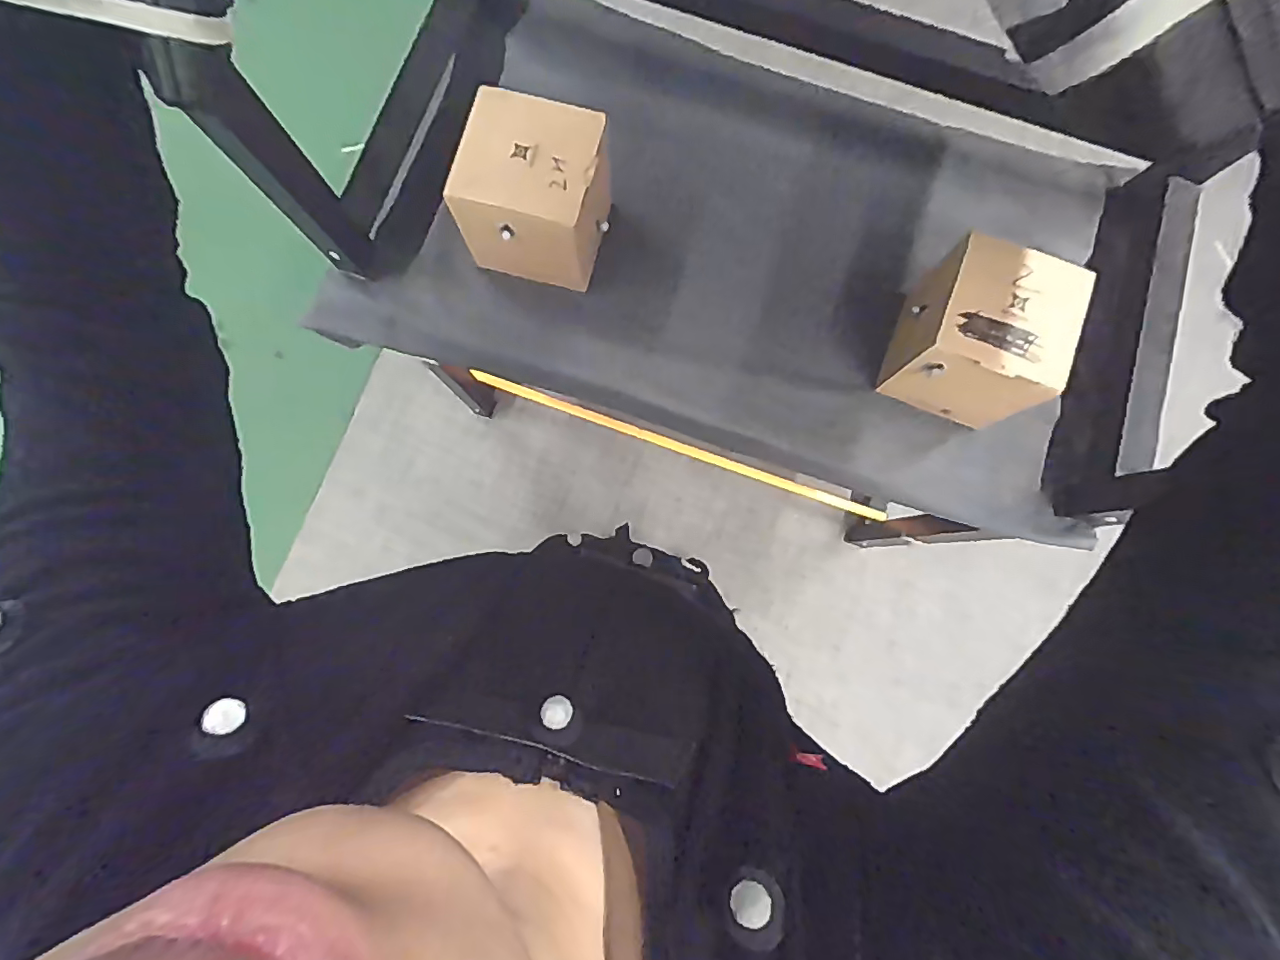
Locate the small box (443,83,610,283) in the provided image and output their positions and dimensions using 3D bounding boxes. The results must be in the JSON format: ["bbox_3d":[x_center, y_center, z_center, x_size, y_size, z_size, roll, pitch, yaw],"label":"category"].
[{"bbox_3d":[-0.147,-0.406,0.769,0.179,0.176,0.168,15,82,0],"label":"small box"}]
